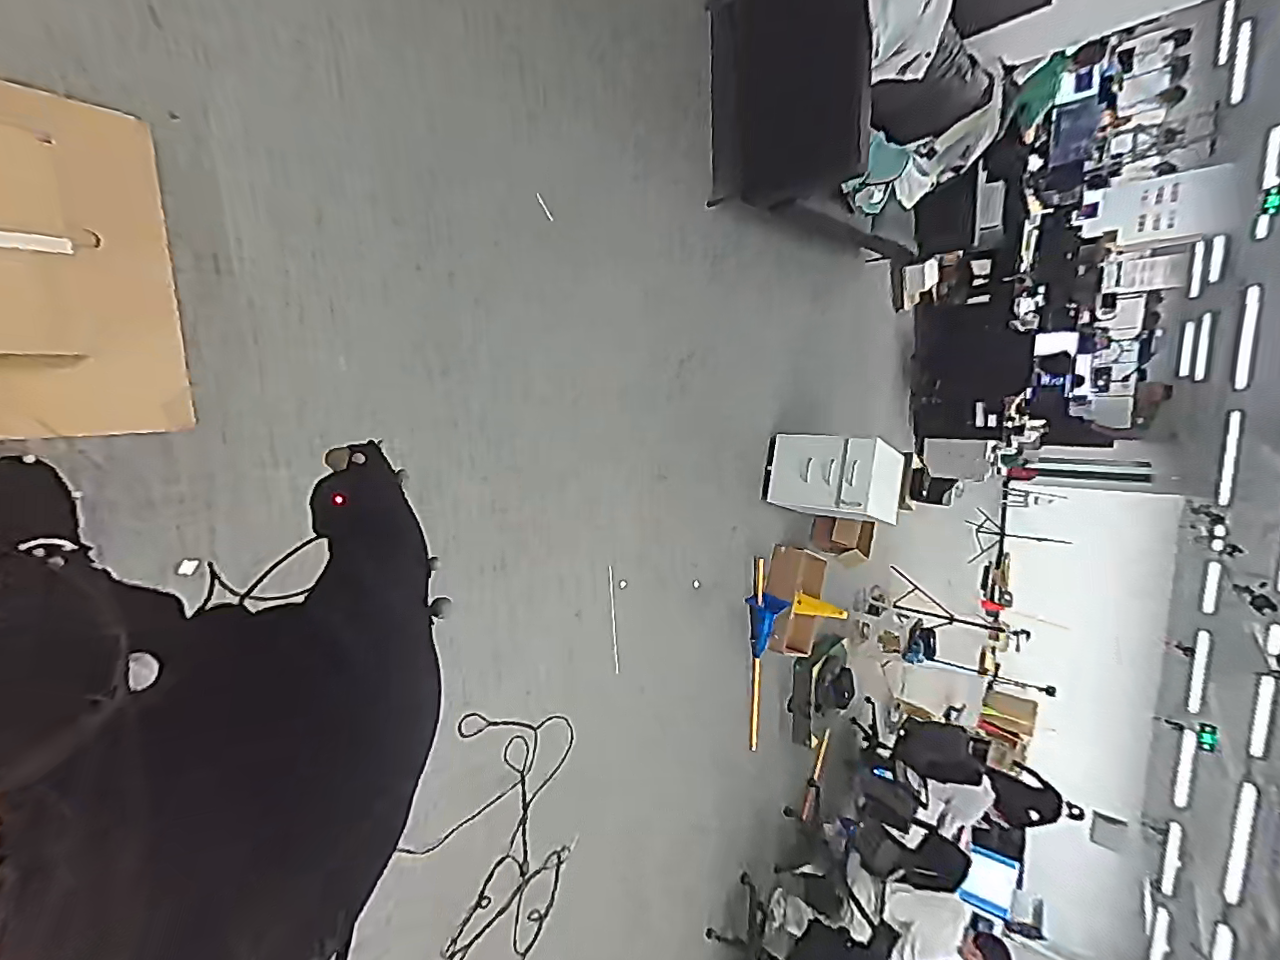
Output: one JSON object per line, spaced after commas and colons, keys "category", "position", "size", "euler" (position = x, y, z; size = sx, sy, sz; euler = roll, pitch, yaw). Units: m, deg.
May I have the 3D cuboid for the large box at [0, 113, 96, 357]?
{"category": "large box", "position": [-1.078, -0.333, 0.741], "size": [0.408, 0.320, 0.320], "euler": [-15, 107, -49]}
